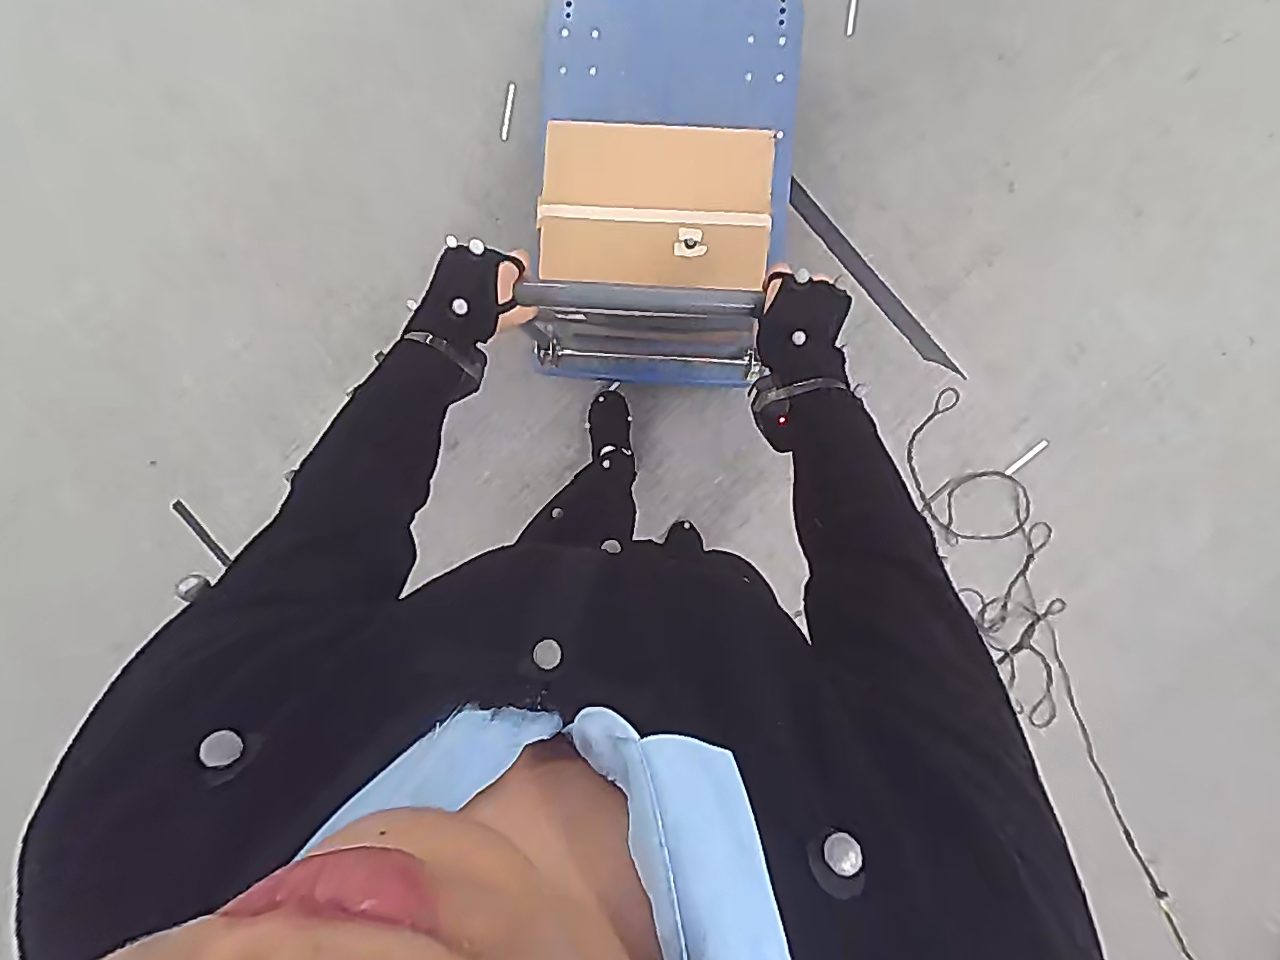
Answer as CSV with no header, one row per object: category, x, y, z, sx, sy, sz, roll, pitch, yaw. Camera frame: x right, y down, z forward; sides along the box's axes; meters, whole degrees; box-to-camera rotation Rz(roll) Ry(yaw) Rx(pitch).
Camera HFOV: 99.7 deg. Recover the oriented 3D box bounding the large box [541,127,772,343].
large box,0.028,-0.471,1.108,0.408,0.320,0.320,4,95,1
